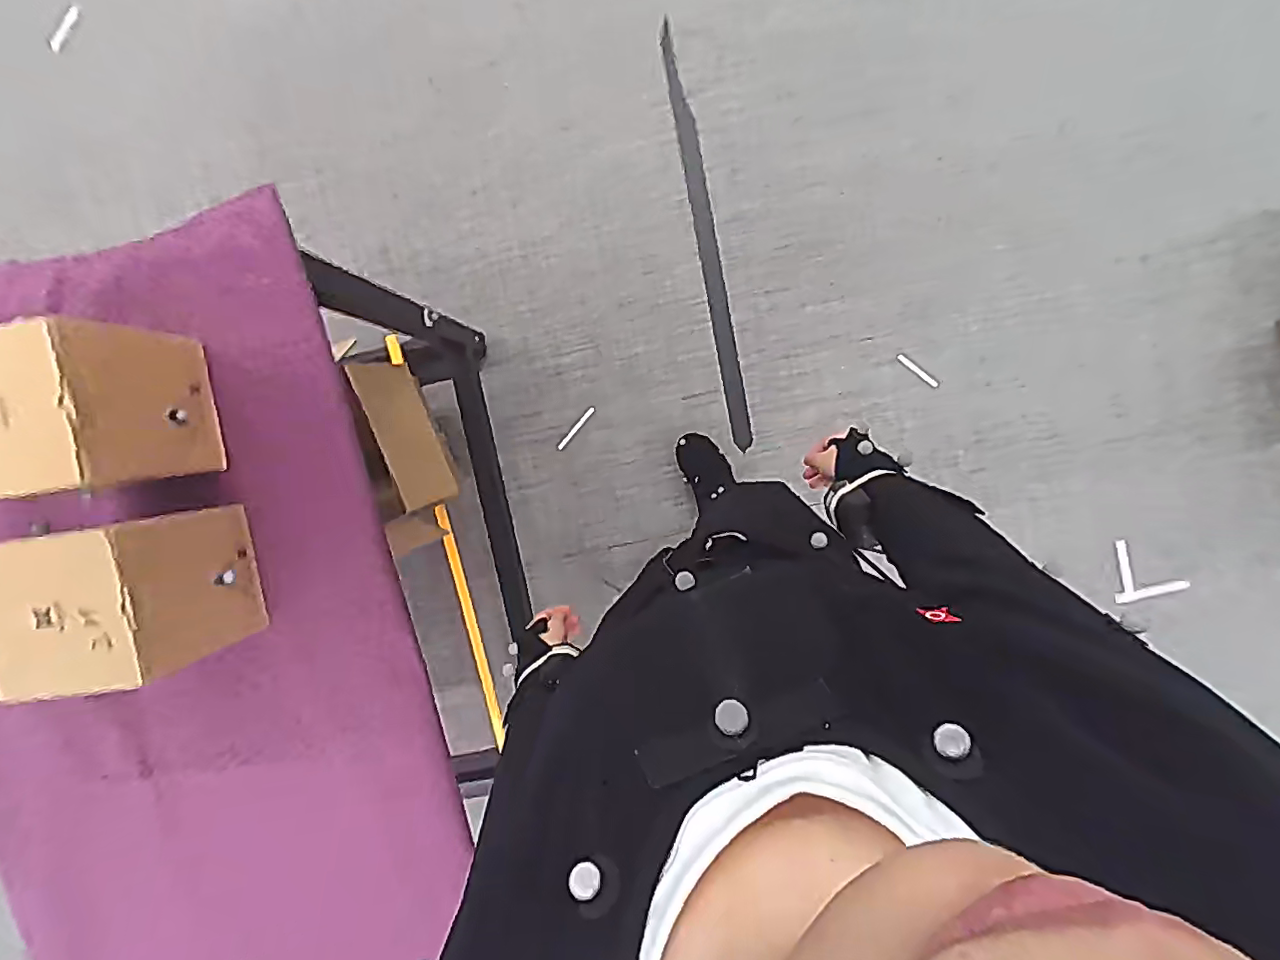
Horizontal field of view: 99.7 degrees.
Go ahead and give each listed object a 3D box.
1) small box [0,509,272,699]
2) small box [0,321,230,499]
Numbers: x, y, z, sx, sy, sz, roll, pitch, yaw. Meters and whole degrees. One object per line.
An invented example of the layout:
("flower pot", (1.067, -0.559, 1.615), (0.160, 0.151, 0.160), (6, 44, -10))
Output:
("small box", (-0.586, 0.134, 0.636), (0.179, 0.176, 0.168), (-8, 95, 6))
("small box", (-0.630, -0.072, 0.621), (0.179, 0.176, 0.168), (-8, 95, 6))
